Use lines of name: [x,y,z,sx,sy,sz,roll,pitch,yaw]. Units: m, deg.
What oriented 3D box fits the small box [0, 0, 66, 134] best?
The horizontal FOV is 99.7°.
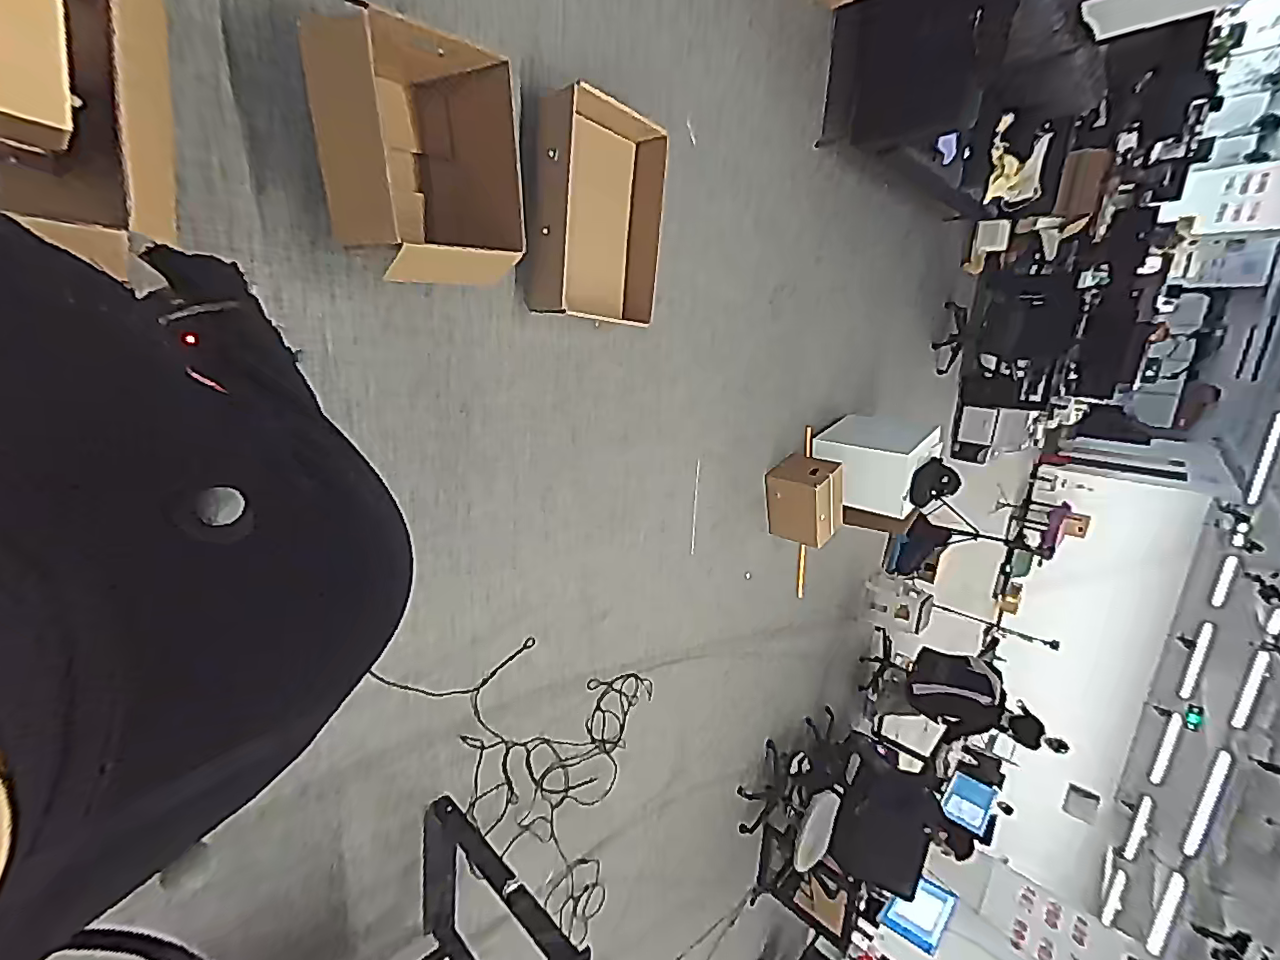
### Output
small box: [-0.899,-0.585,0.713,0.179,0.176,0.168,-6,106,-48]
